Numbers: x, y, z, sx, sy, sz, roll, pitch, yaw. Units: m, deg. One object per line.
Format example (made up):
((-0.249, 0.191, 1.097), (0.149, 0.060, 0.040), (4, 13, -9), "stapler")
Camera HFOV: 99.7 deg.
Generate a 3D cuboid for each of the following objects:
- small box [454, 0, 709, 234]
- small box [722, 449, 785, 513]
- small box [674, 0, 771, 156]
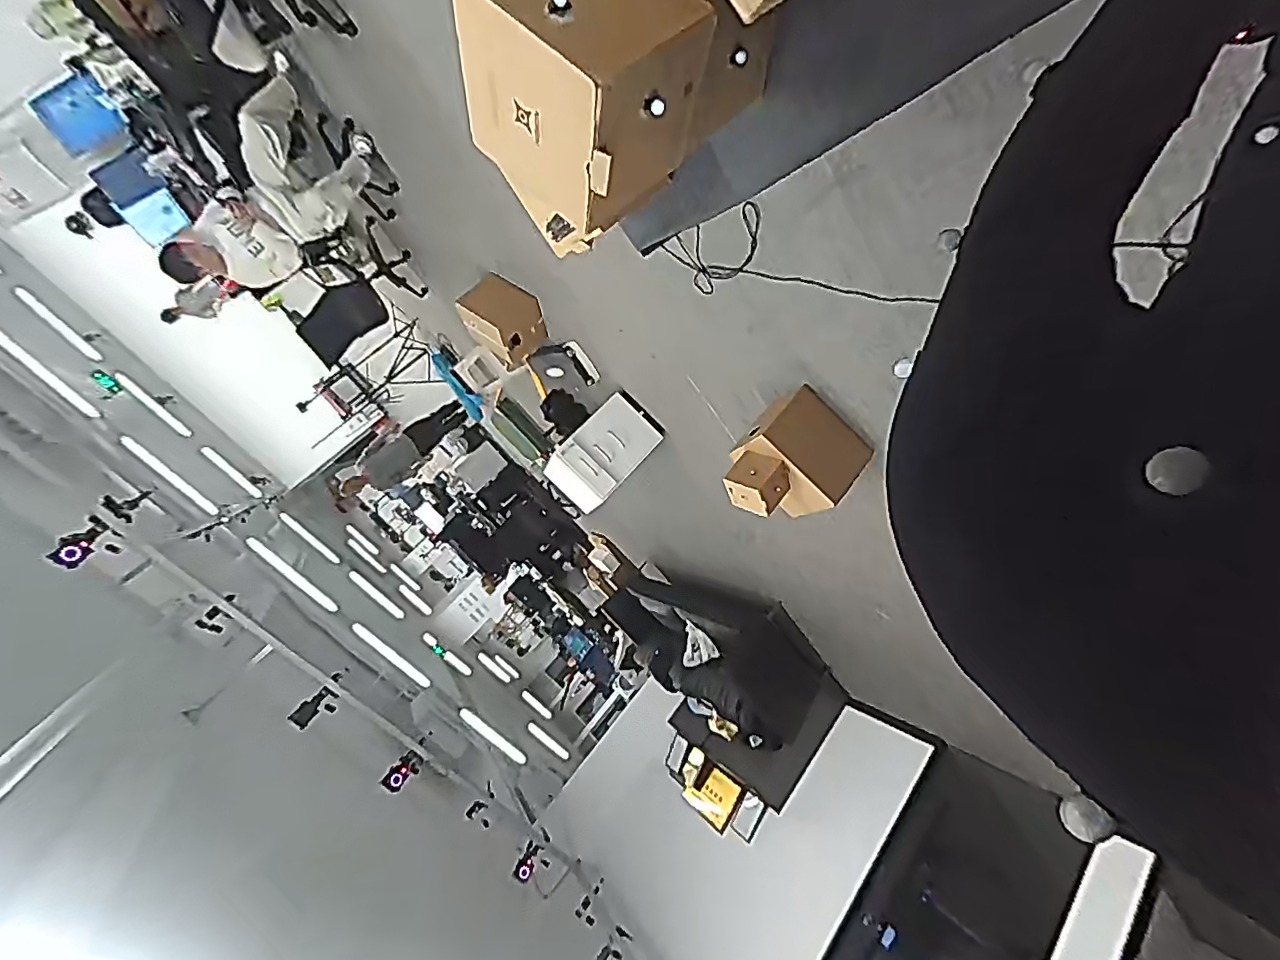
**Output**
((-0.056, -0.403, 0.551), (0.179, 0.176, 0.168), (42, 159, 6), "small box")
((0.459, -0.001, 2.148), (0.179, 0.176, 0.168), (21, 151, 42), "small box")
((0.035, -0.521, 0.618), (0.179, 0.176, 0.168), (37, 159, 17), "small box")
